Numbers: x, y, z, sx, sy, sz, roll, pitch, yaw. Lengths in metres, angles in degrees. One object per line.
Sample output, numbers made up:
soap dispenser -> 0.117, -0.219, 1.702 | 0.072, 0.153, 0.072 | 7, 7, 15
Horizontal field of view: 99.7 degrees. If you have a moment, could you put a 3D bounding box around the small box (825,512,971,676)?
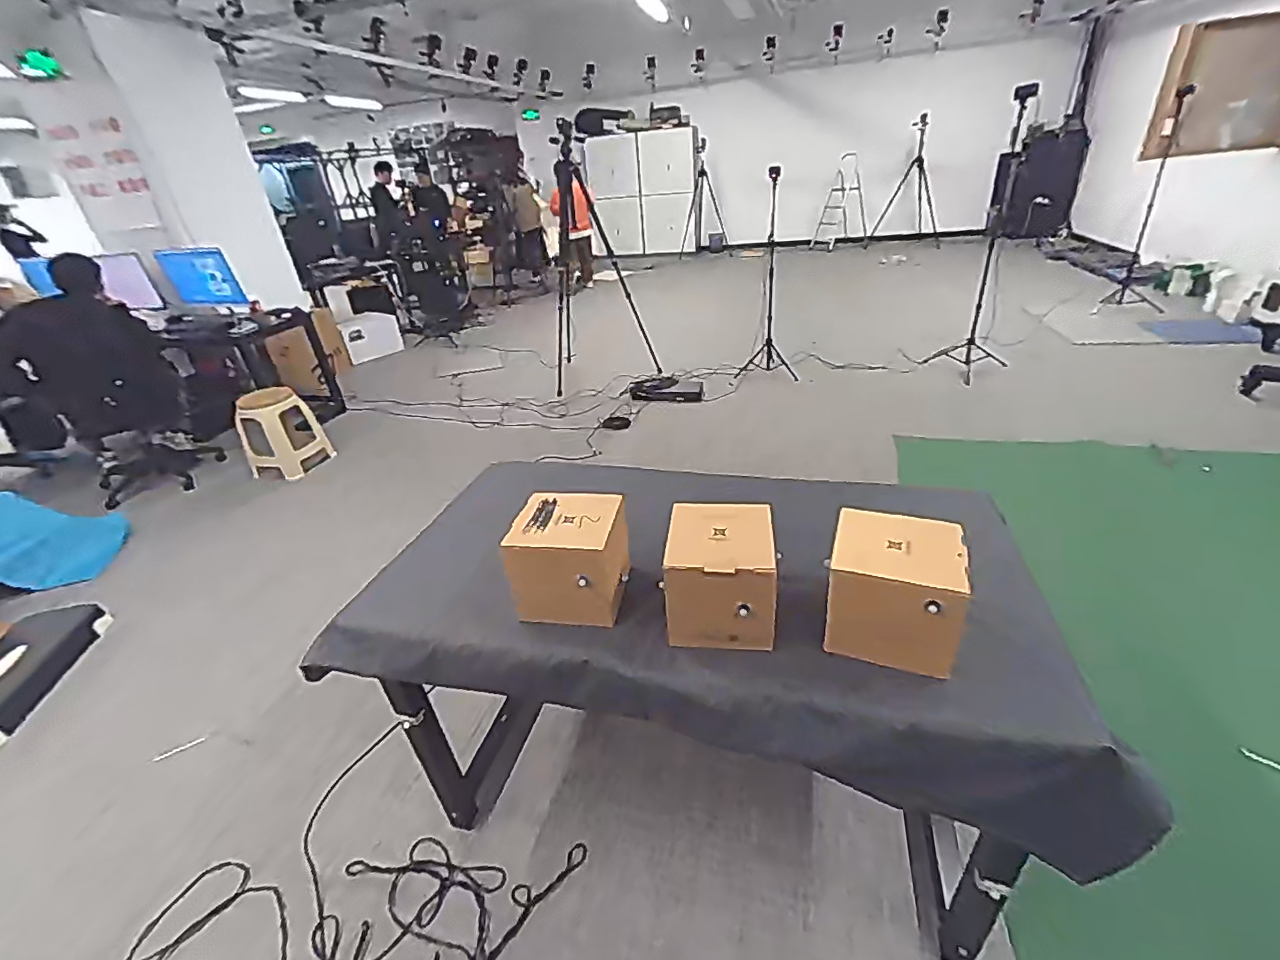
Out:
small box -> 0.387, 0.172, 0.830 | 0.179, 0.176, 0.168 | 8, 32, 22

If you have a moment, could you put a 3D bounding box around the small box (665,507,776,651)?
small box -> 0.135, 0.161, 0.894 | 0.168, 0.176, 0.179 | 1, 29, 9
